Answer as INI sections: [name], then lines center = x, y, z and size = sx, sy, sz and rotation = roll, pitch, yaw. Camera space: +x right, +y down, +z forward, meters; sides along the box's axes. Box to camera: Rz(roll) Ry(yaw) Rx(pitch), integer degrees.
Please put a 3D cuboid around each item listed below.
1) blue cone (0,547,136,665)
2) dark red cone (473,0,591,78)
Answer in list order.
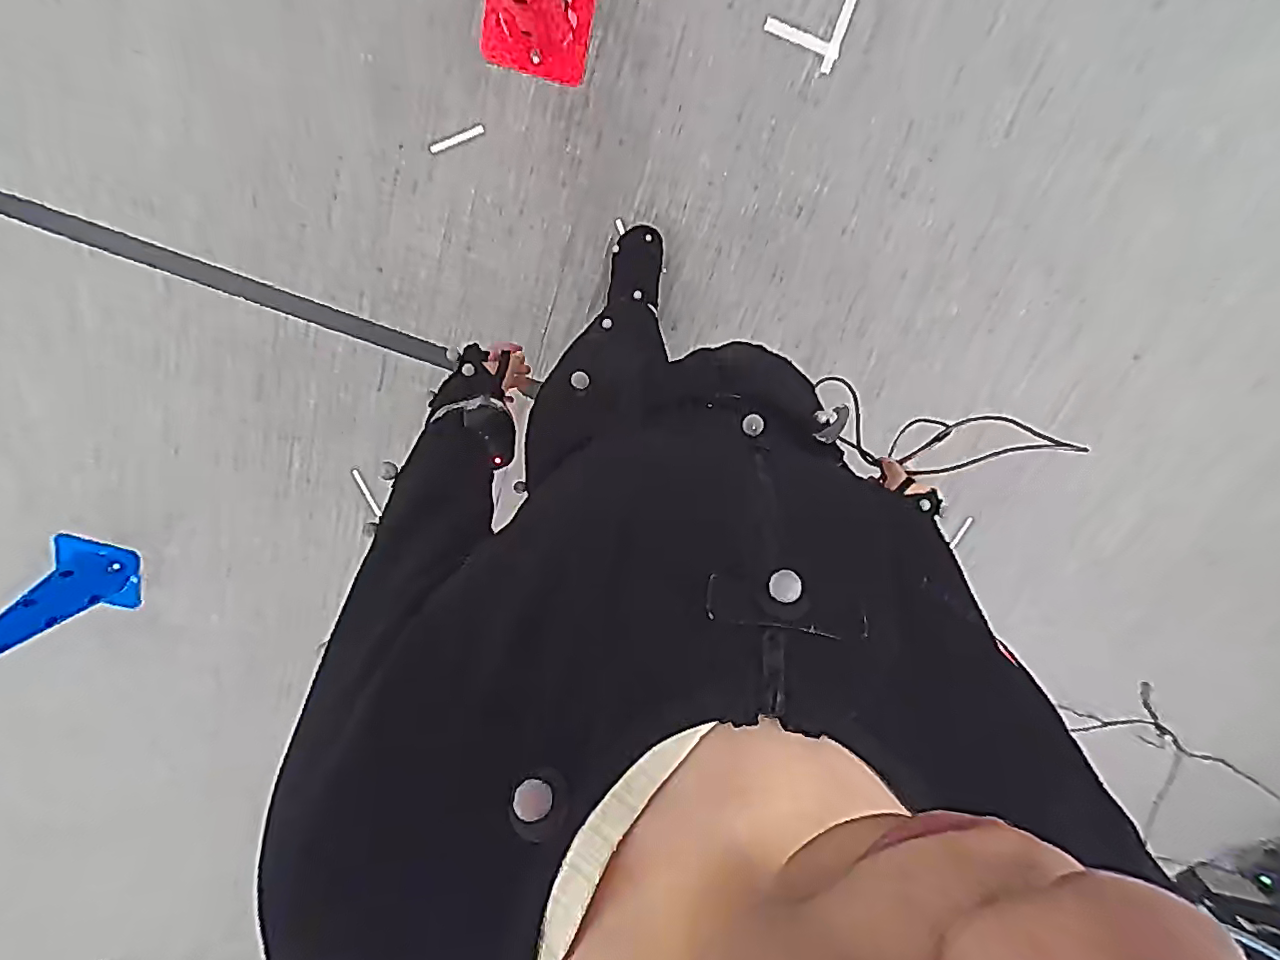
[blue cone]
center = -1.448, 0.338, 1.295
size = 0.193, 0.380, 0.192
rotation = 18, 112, -11
[dark red cone]
center = -0.185, -0.799, 0.834
size = 0.202, 0.394, 0.201
rotation = 11, 114, -8
